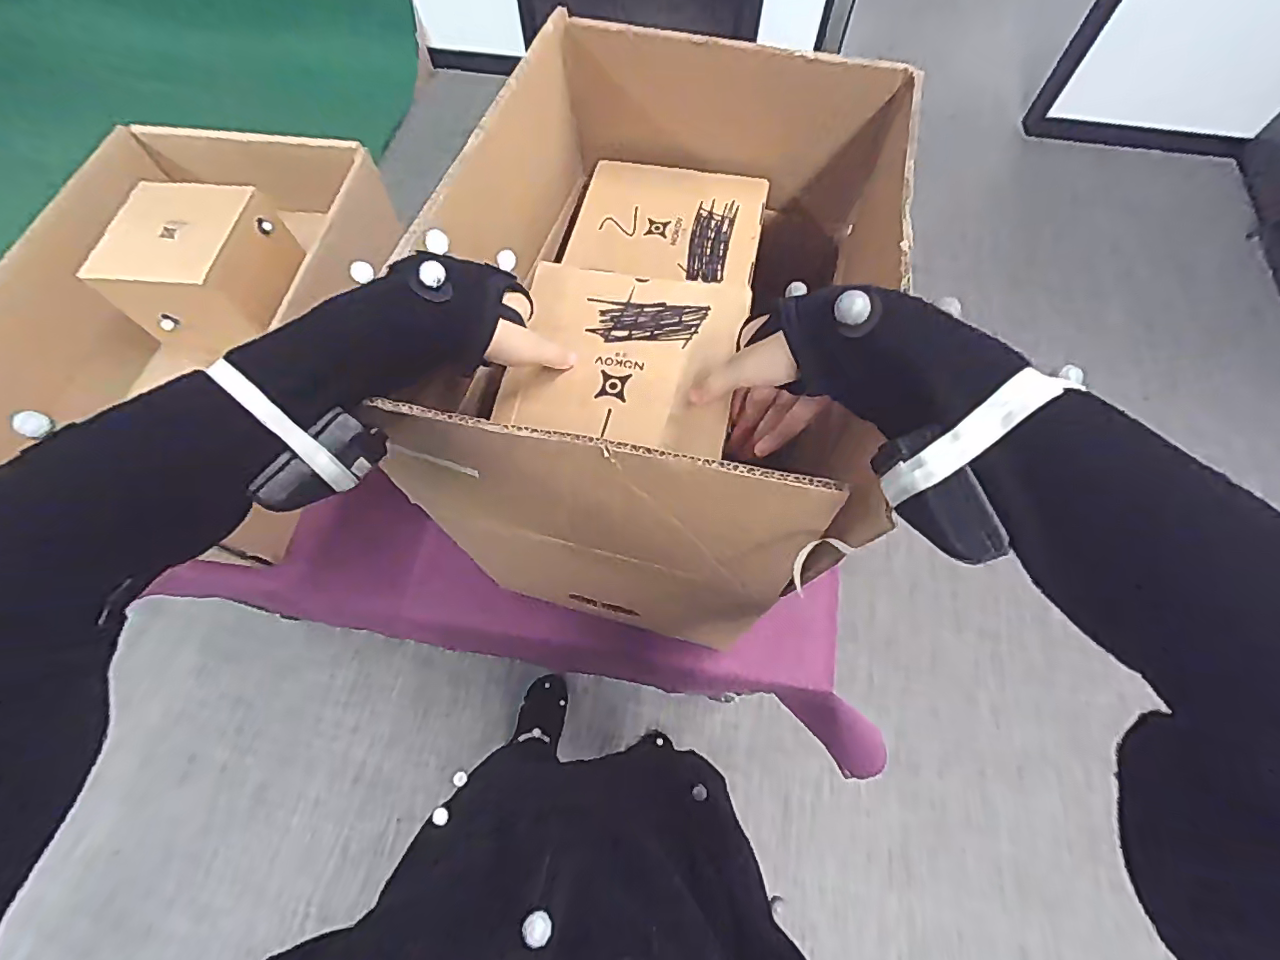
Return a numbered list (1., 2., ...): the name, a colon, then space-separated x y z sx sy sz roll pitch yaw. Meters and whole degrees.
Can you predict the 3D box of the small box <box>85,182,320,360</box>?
1. small box: -0.597 -0.289 0.769 0.168 0.176 0.179 4 66 3
